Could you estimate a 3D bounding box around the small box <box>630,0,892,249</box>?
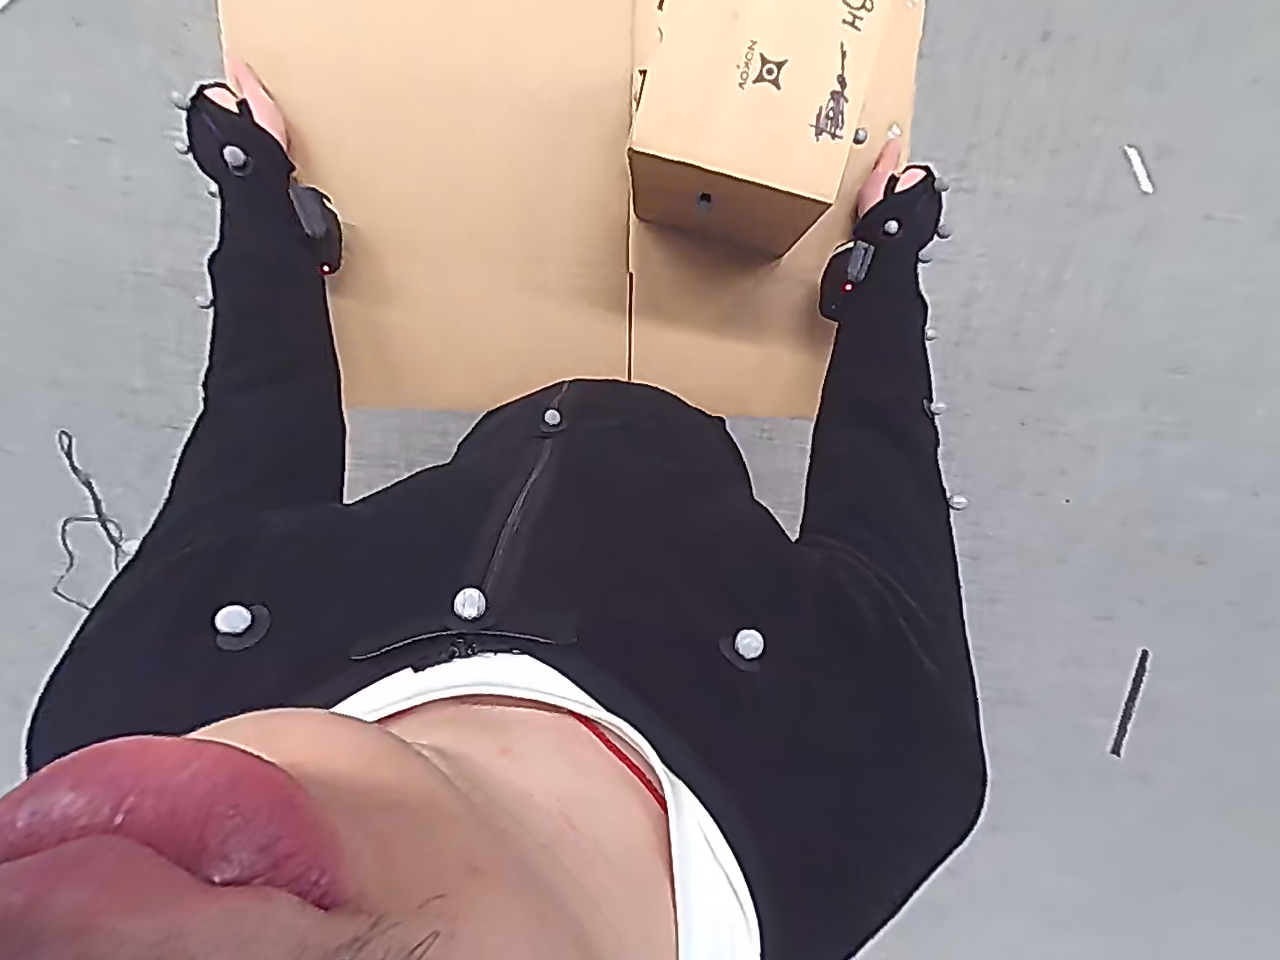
[{"bbox_3d":[0.098,-0.338,0.512,0.179,0.176,0.168,15,99,0],"label":"small box"}]
